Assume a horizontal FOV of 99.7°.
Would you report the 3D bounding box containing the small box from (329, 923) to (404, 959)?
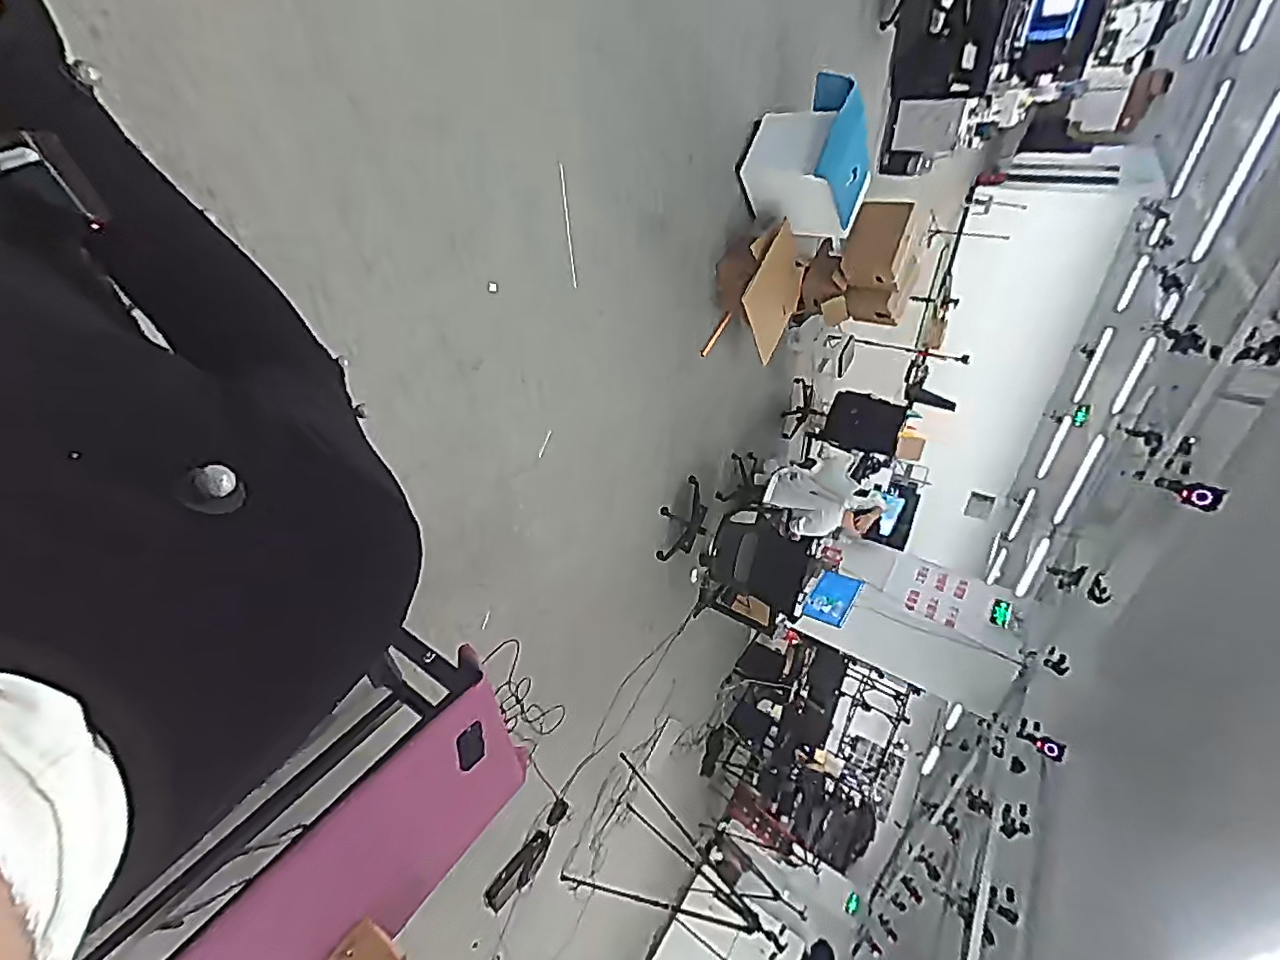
[{"bbox_3d":[-0.685,1.265,1.353,0.168,0.176,0.179,-42,140,-40],"label":"small box"}]
